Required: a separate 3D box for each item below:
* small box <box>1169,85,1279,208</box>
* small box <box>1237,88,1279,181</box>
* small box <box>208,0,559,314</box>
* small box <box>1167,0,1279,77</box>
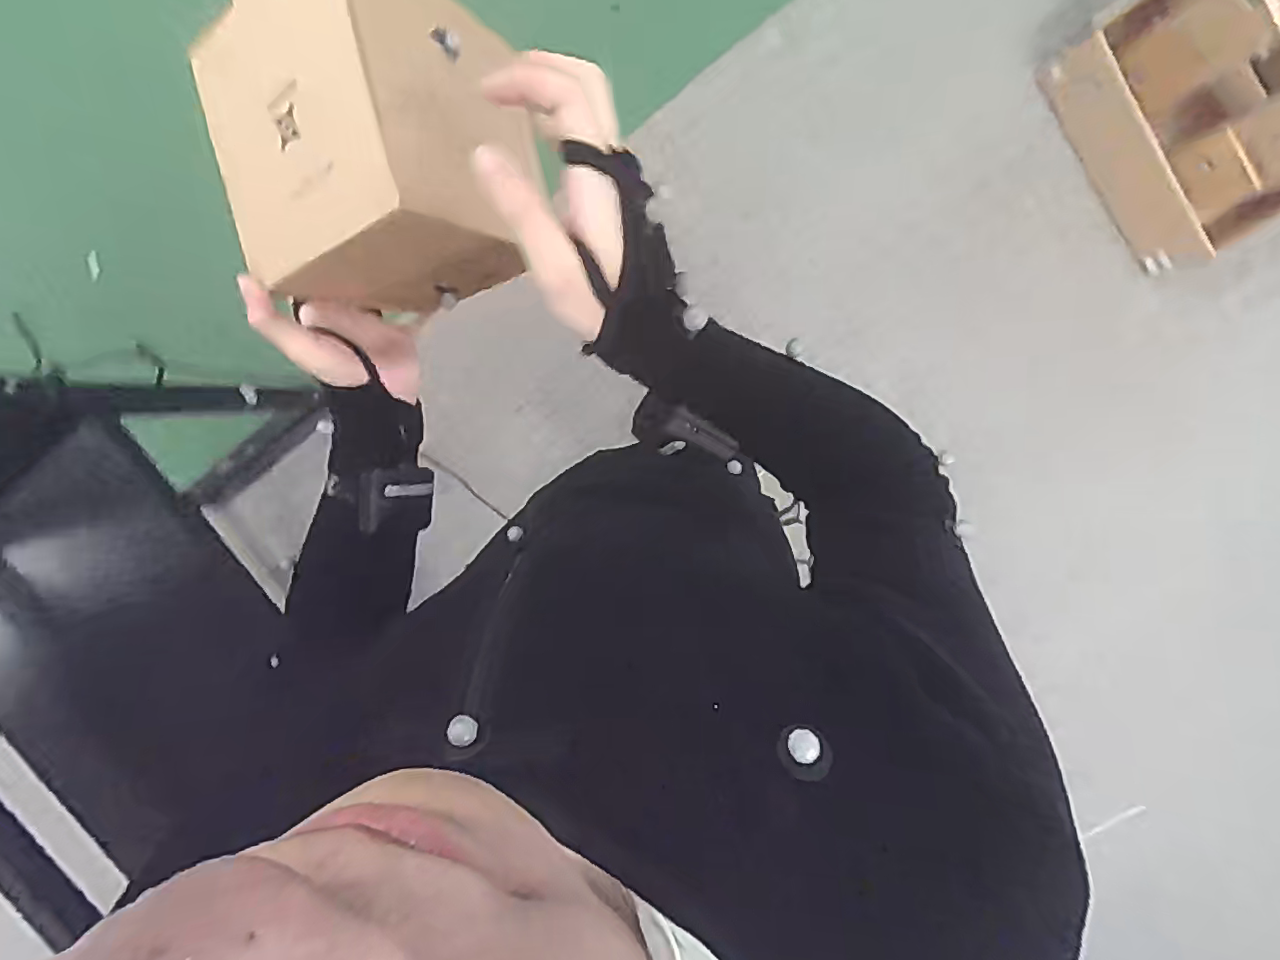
[{"bbox_3d":[1.417,-0.782,1.275,0.179,0.176,0.168,-32,94,8],"label":"small box"},{"bbox_3d":[1.406,-0.759,1.111,0.179,0.176,0.168,-32,94,8],"label":"small box"},{"bbox_3d":[-0.190,-0.248,0.433,0.168,0.176,0.179,-10,95,28],"label":"small box"},{"bbox_3d":[1.246,-0.977,1.088,0.179,0.176,0.168,-34,95,8],"label":"small box"}]
